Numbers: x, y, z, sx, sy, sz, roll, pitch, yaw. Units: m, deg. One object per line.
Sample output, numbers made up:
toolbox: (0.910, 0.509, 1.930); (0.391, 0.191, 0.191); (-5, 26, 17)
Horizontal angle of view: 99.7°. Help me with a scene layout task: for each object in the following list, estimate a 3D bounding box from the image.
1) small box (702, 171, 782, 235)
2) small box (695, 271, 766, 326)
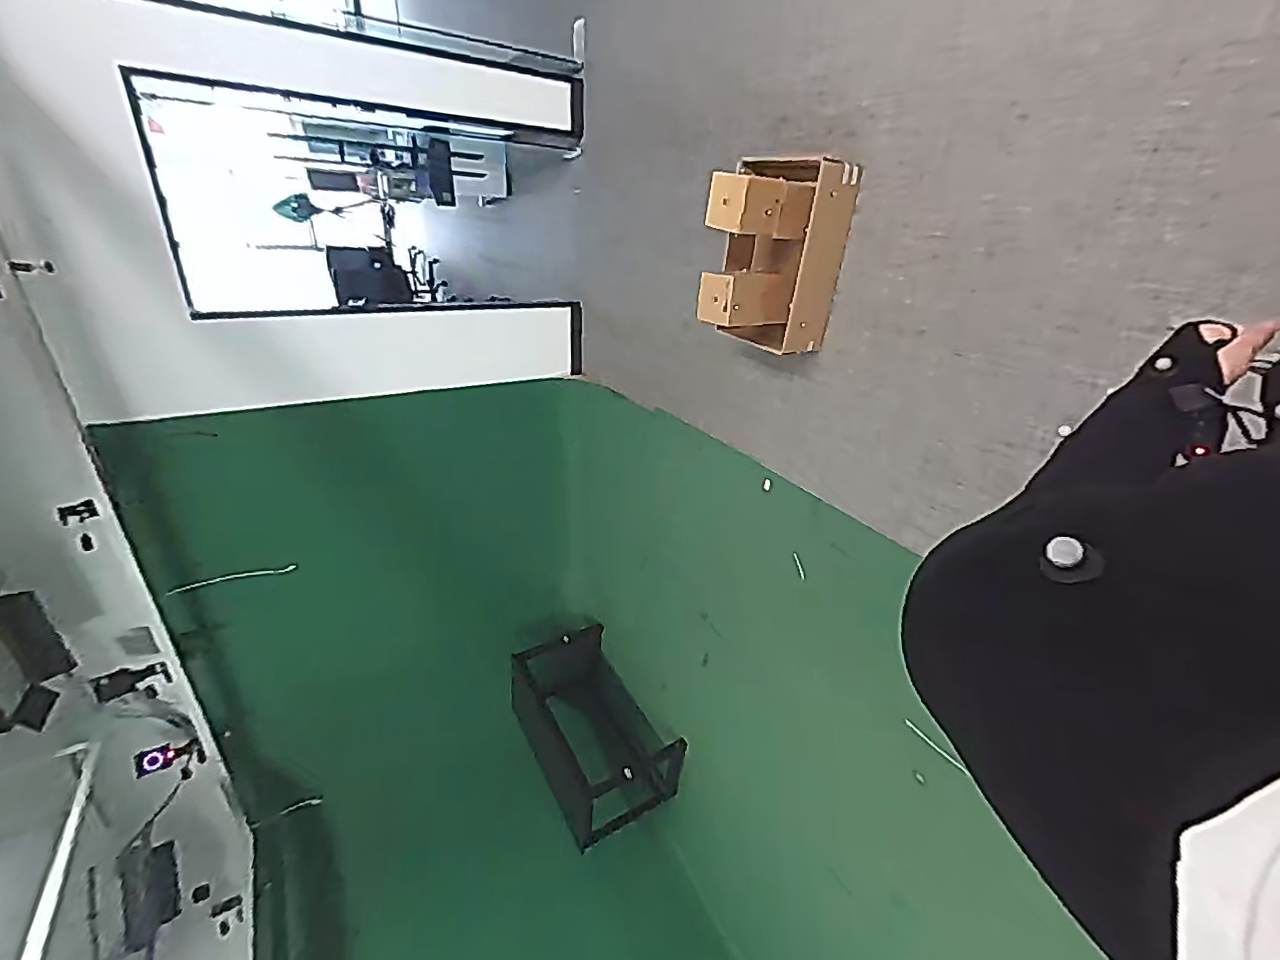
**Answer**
small box: (0.337, -0.919, 1.798); (0.179, 0.176, 0.168); (41, 134, 43)
small box: (0.319, -0.649, 1.928); (0.179, 0.176, 0.168); (36, 131, 49)
